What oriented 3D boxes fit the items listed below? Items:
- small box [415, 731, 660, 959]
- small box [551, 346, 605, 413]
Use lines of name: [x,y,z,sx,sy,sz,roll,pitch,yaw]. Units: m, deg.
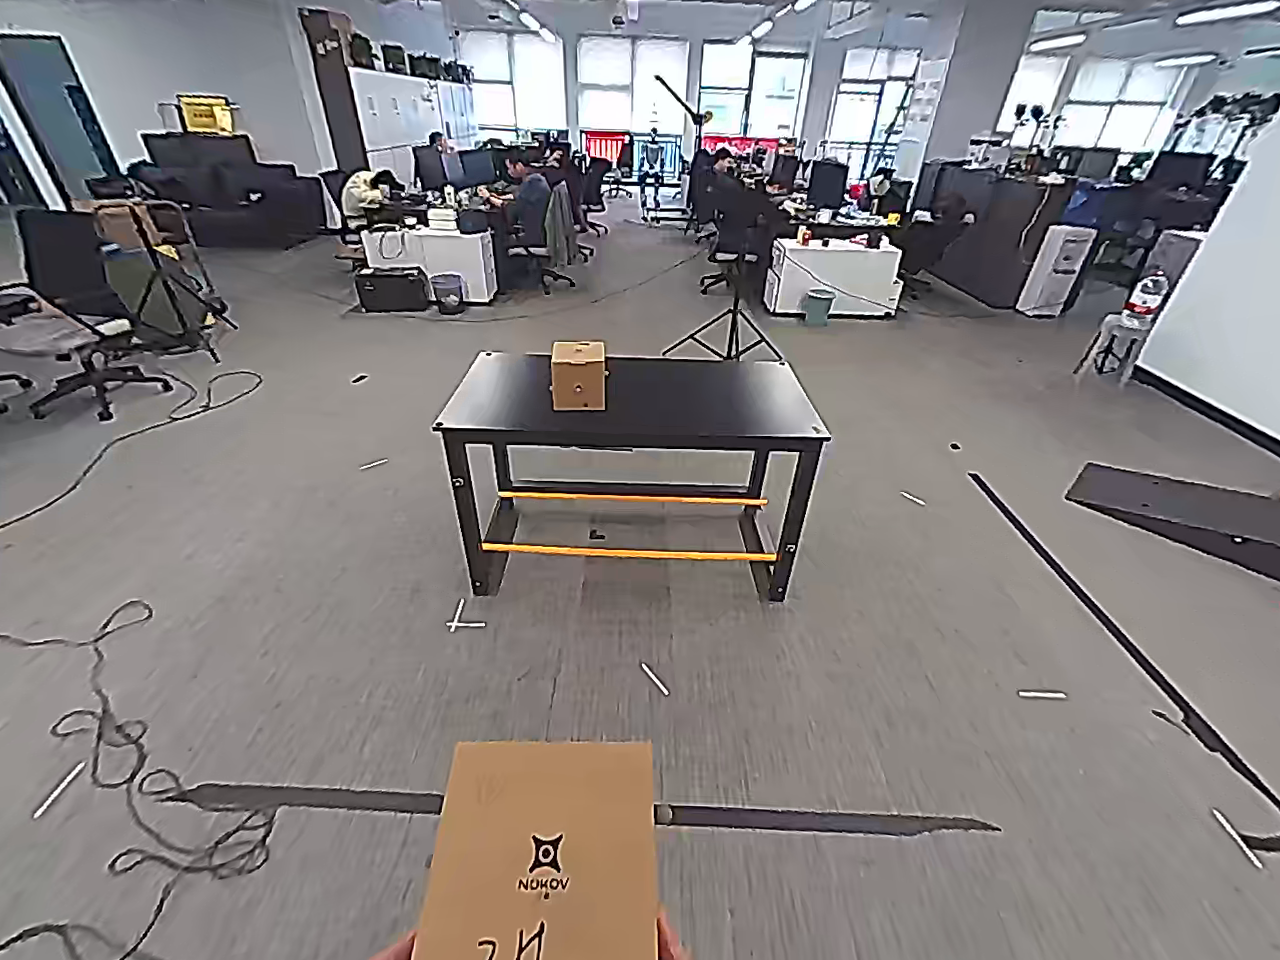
small box: [-0.072,0.335,0.461,0.168,0.176,0.179,1,45,-2]
small box: [-0.200,-0.329,1.779,0.168,0.176,0.179,-1,34,-4]
